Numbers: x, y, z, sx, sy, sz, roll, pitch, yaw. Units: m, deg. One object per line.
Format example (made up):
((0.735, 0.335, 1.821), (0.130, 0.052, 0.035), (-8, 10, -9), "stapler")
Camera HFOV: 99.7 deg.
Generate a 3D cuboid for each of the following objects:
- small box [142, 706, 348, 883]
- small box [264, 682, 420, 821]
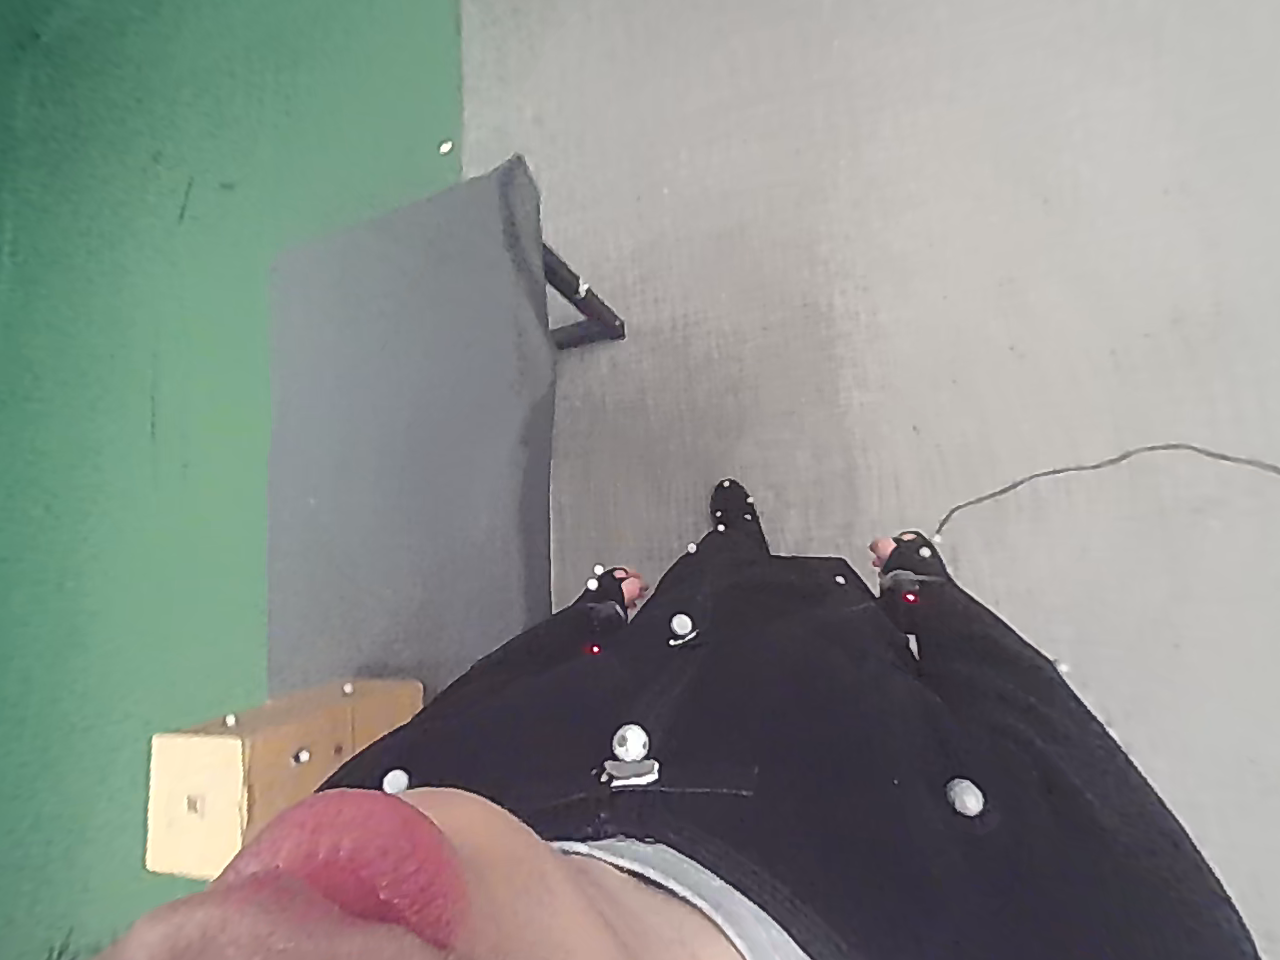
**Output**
((-0.537, 0.420, 0.754), (0.179, 0.176, 0.168), (-9, 79, 19), "small box")
((-0.495, 0.443, 0.910), (0.179, 0.176, 0.168), (-6, 80, 19), "small box")
